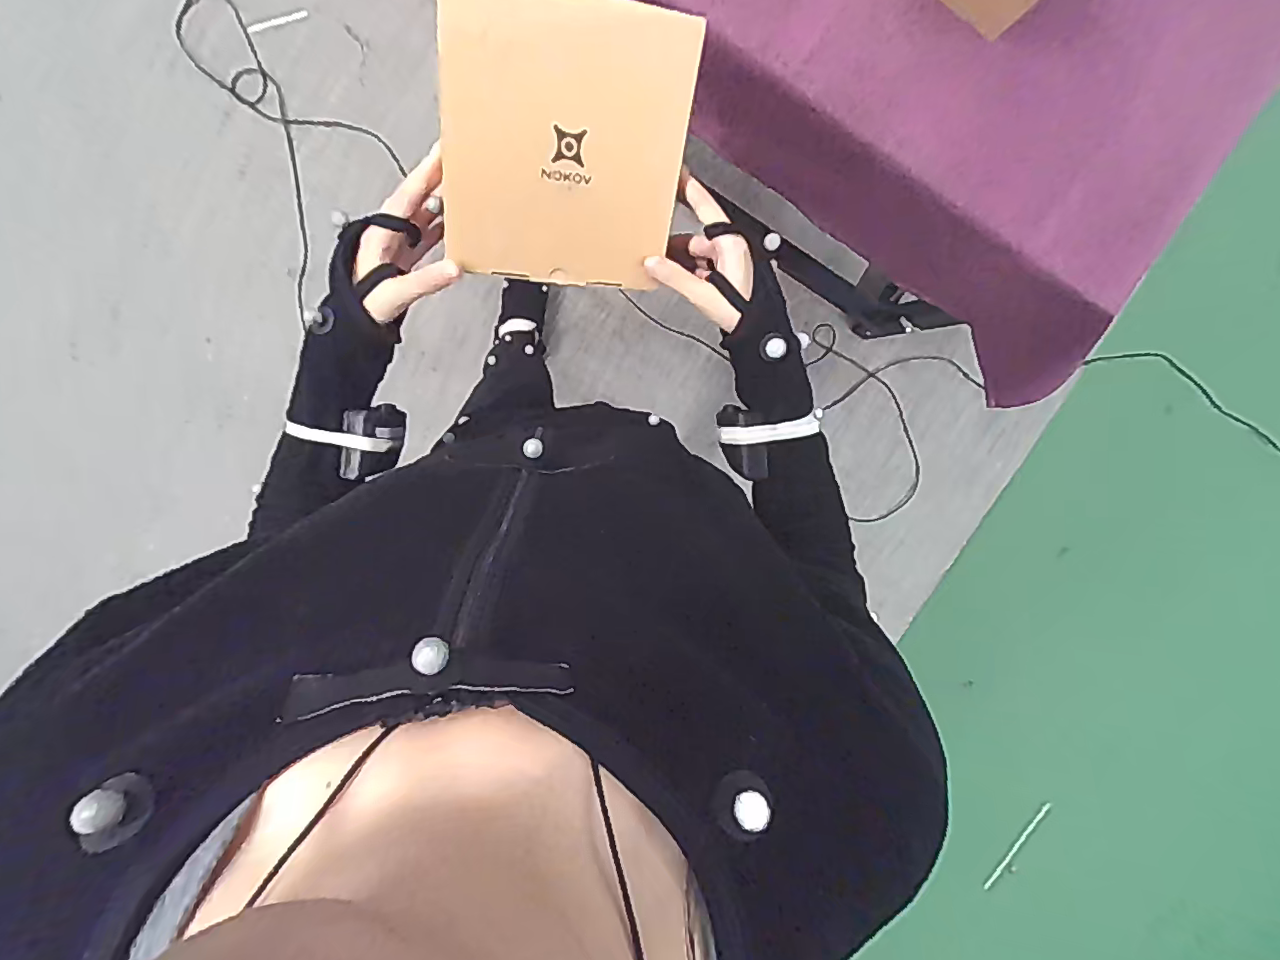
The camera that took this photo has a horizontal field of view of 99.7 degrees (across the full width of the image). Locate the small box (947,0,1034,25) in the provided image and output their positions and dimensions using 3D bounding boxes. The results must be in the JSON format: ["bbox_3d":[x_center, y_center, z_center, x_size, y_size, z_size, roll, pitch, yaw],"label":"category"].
[{"bbox_3d":[0.420,-0.648,0.578,0.179,0.176,0.168,31,97,-8],"label":"small box"}]
